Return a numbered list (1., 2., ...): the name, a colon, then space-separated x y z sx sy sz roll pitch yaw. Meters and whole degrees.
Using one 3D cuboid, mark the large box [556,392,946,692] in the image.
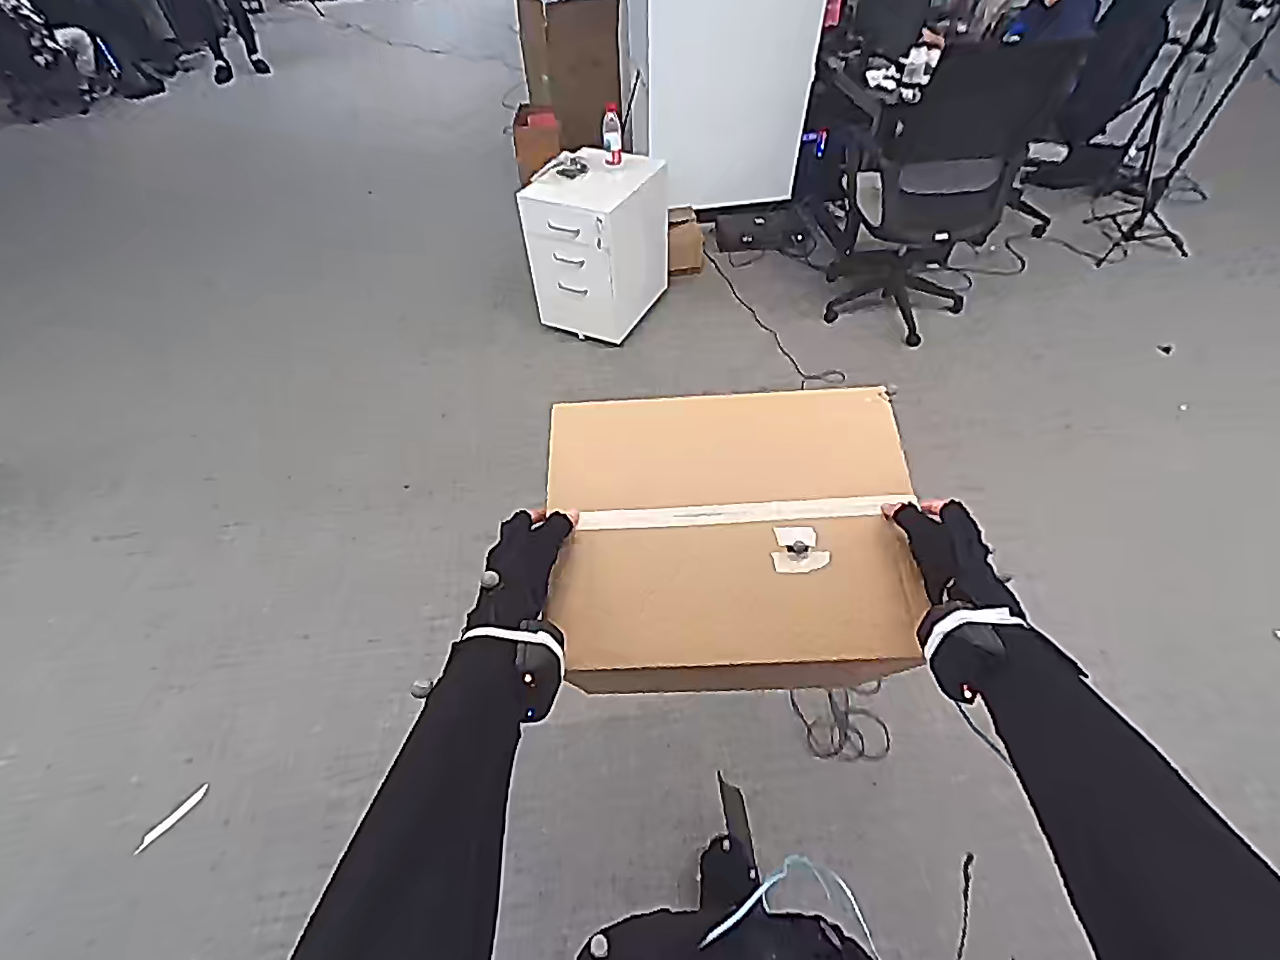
1. large box: 0.110 0.104 0.743 0.408 0.320 0.320 -3 64 2
